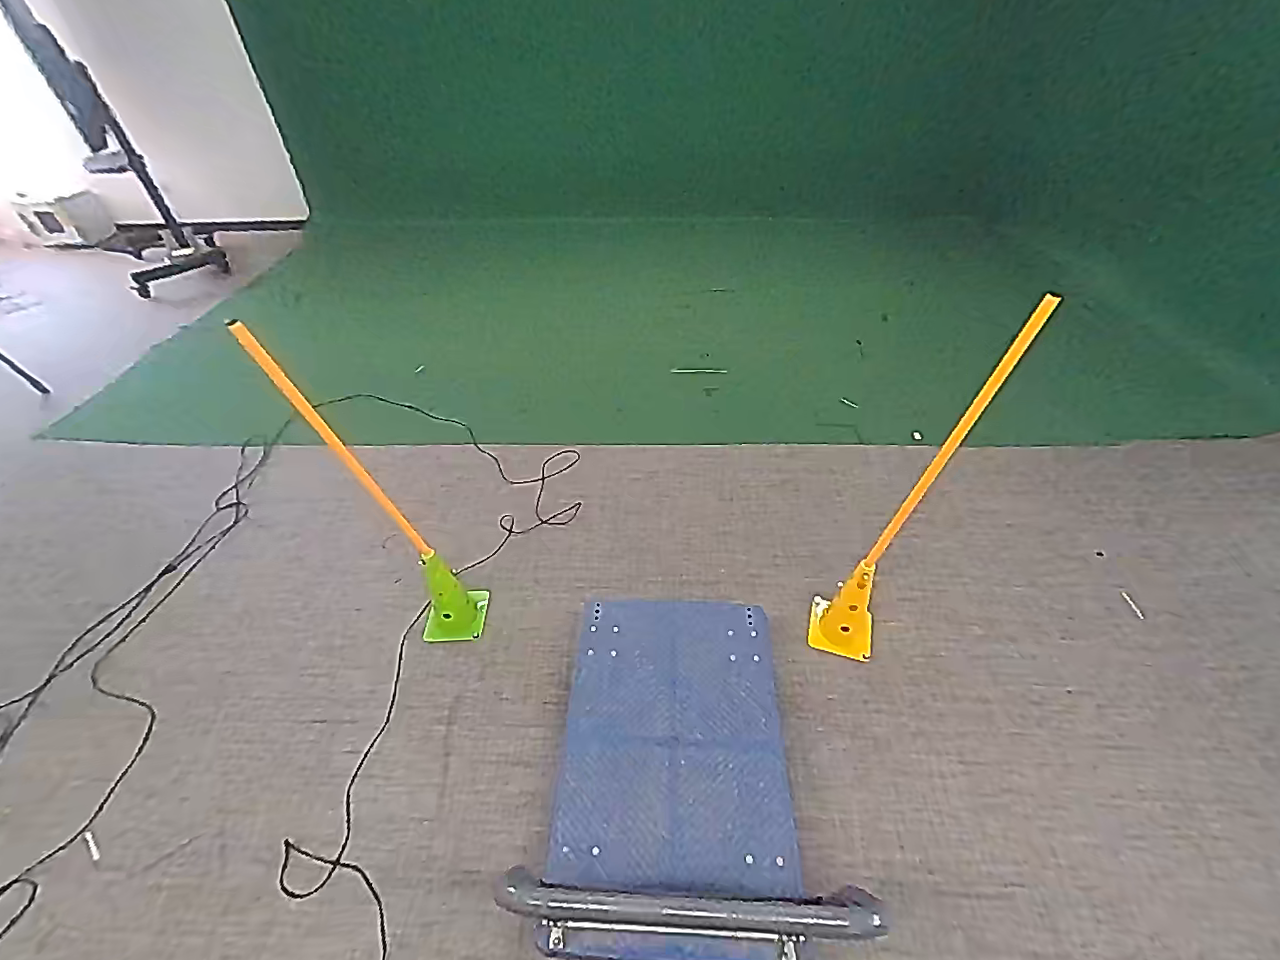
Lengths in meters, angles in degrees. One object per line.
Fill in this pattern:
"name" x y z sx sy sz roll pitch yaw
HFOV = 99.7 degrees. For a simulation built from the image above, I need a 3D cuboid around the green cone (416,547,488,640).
"green cone" -0.659 0.347 1.798 0.202 0.368 0.200 -4 43 1
